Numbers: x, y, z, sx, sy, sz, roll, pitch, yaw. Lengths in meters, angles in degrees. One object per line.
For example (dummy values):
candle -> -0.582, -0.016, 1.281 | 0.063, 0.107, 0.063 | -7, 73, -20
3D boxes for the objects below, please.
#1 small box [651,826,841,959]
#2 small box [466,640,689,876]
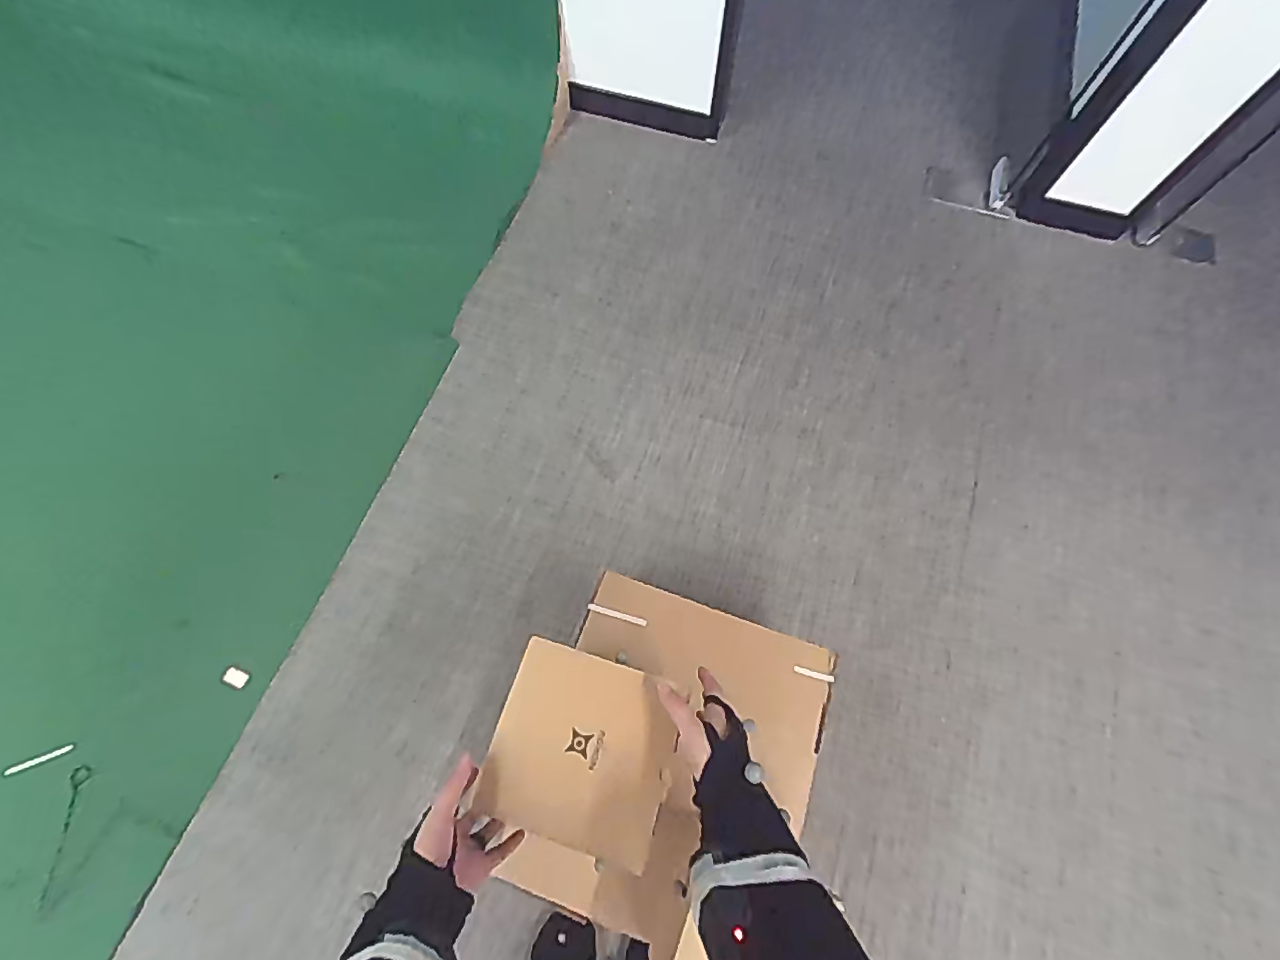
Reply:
small box -> 0.118, 0.559, 0.661 | 0.168, 0.176, 0.179 | 22, 68, 7
small box -> -0.058, 0.294, 0.595 | 0.179, 0.176, 0.168 | 17, 67, 6
